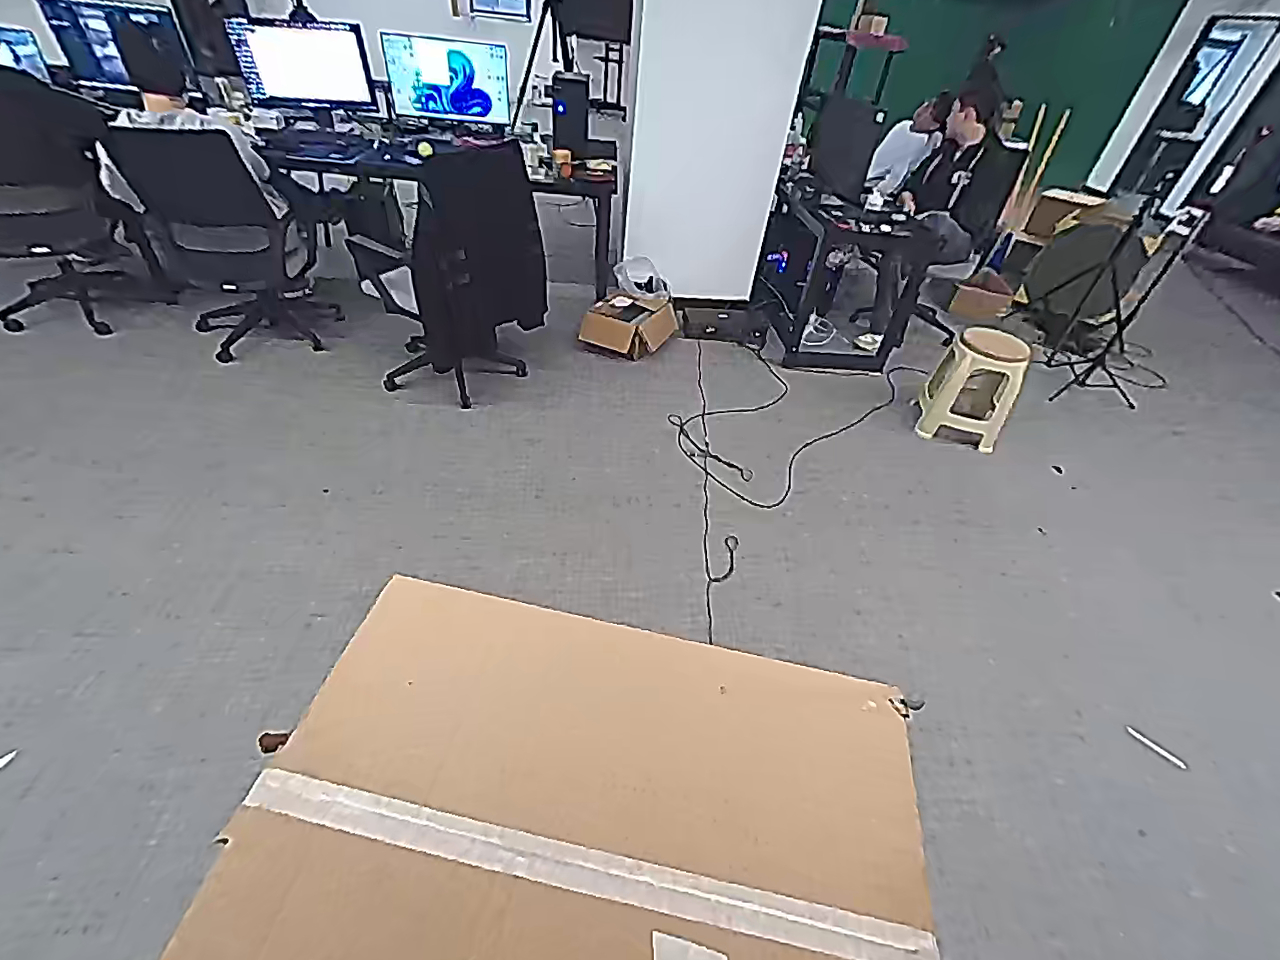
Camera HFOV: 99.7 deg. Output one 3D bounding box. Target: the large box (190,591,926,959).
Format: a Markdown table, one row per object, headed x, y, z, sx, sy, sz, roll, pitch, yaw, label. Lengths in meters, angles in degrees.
| x | y | z | sx | sy | sz | roll | pitch | yaw | label |
| --- | --- | --- | --- | --- | --- | --- | --- | --- | --- |
| -0.043 | 0.334 | 0.434 | 0.408 | 0.320 | 0.320 | 12 | 48 | 3 | large box |
